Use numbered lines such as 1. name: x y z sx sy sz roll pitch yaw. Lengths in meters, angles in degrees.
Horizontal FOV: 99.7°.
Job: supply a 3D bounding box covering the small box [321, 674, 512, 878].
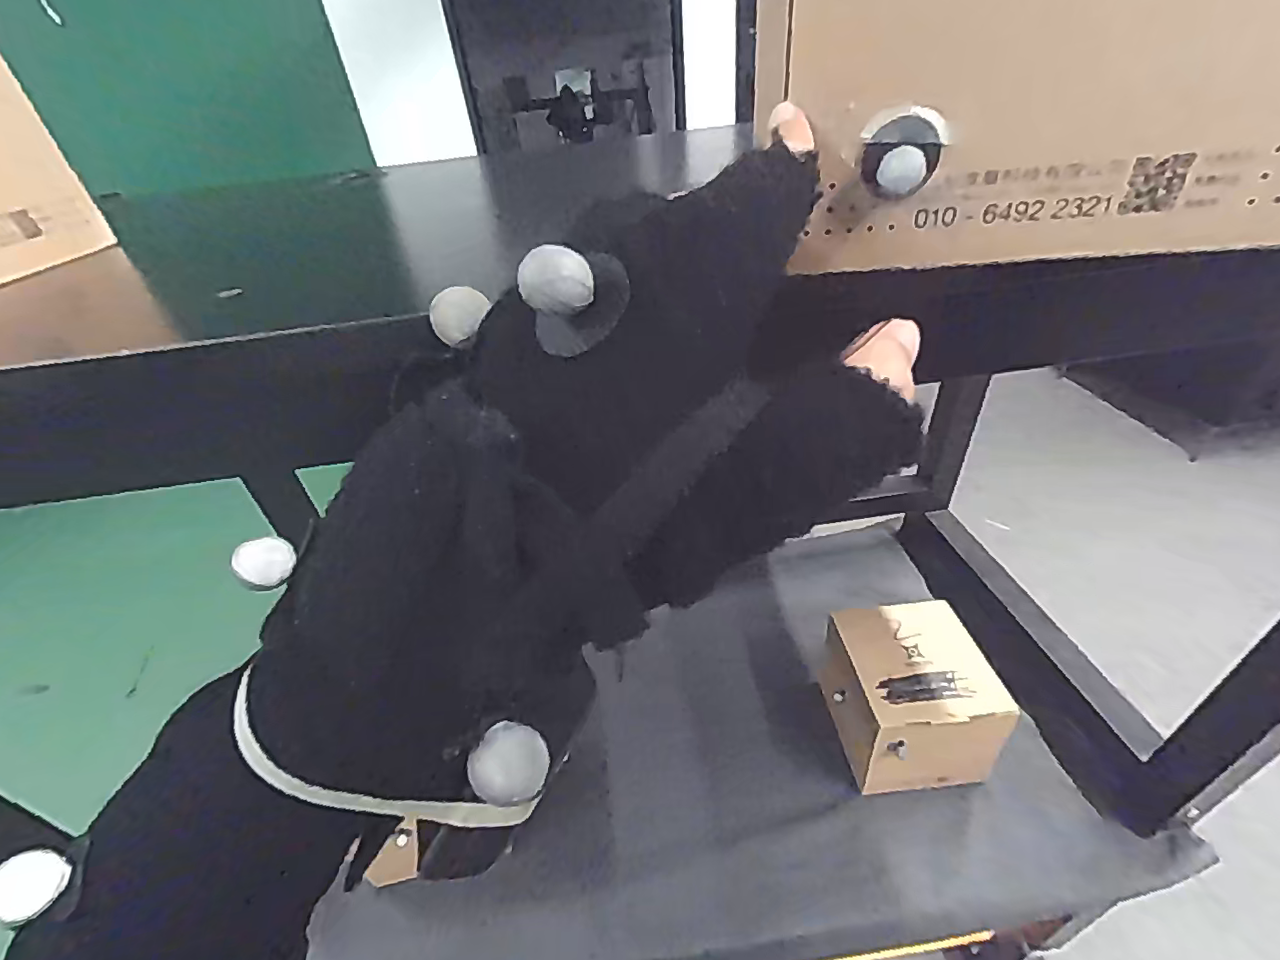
1. small box: -0.277 0.392 0.717 0.179 0.176 0.168 -10 36 -6
